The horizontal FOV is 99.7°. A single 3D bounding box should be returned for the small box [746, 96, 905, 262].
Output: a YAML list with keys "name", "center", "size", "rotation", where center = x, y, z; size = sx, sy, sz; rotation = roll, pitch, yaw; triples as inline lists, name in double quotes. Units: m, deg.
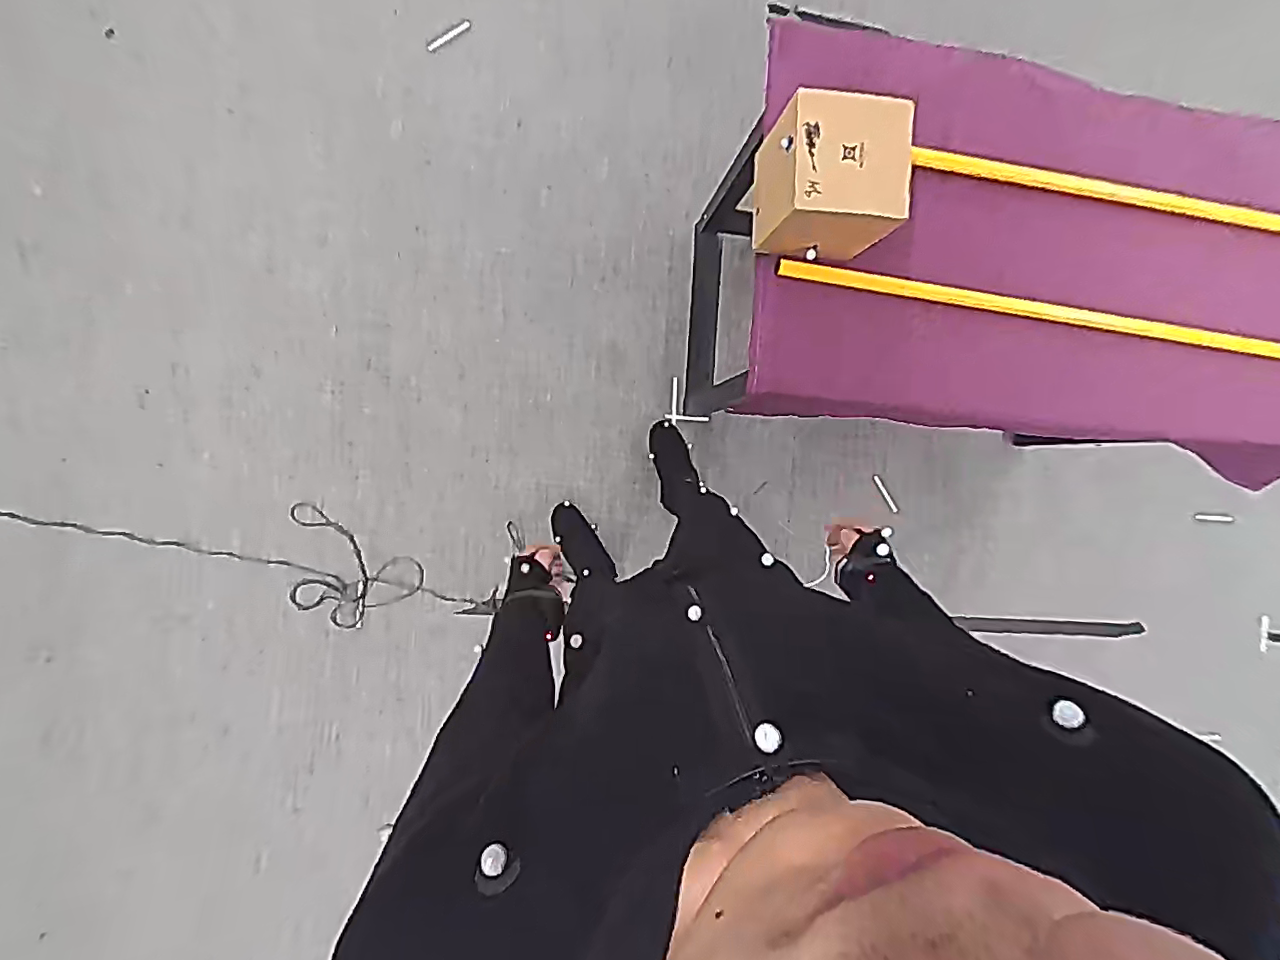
- name: "small box"
  center: [0.283, -0.457, 0.852]
  size: [0.179, 0.176, 0.168]
  rotation: [1, 93, -9]
